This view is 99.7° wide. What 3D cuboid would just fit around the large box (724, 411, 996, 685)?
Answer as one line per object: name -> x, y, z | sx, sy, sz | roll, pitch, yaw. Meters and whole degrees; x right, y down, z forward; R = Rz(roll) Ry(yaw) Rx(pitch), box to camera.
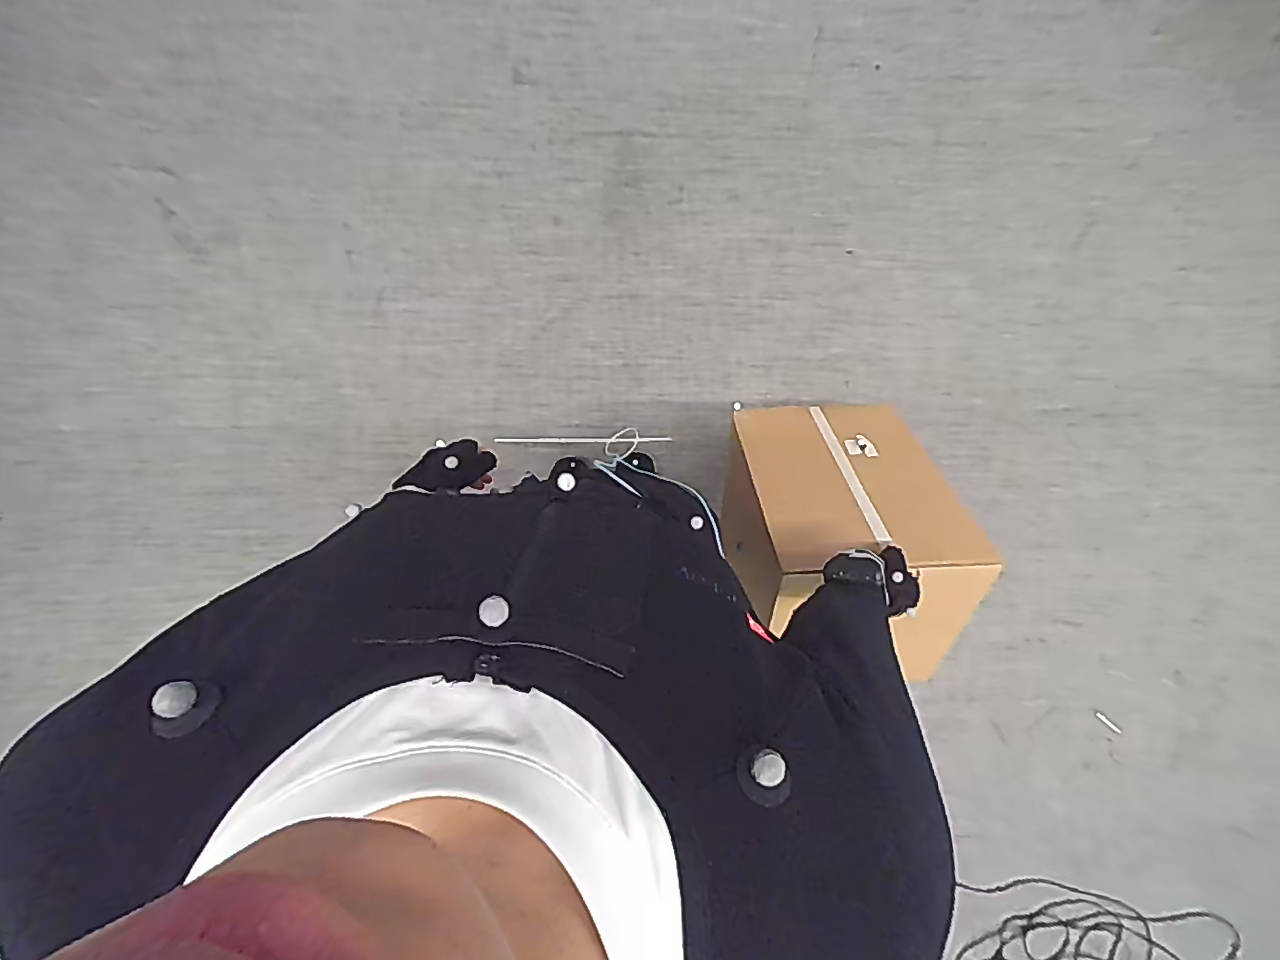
large box -> 0.348, 0.114, 1.004 | 0.320, 0.408, 0.320 | -2, 130, -2
